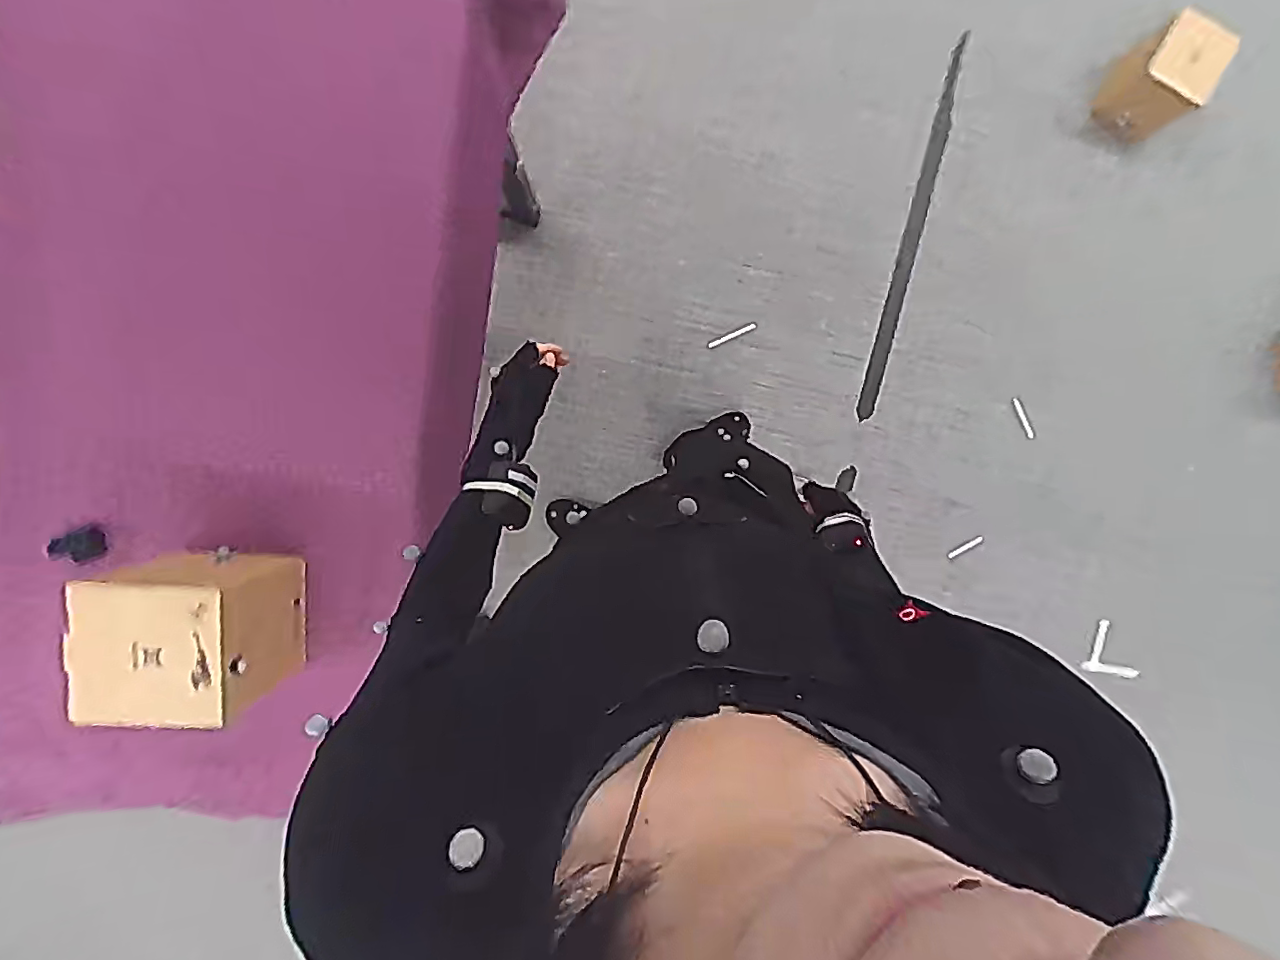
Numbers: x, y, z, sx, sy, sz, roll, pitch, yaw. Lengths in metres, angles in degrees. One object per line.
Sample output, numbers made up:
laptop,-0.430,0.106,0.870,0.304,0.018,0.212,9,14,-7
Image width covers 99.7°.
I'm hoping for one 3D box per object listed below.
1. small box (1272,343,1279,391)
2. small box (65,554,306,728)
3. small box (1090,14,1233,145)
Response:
small box,1.885,-0.328,1.458,0.179,0.176,0.168,0,94,-2
small box,-0.568,0.194,0.696,0.179,0.176,0.168,2,94,-1
small box,1.321,-1.014,1.386,0.168,0.176,0.179,28,94,-2
